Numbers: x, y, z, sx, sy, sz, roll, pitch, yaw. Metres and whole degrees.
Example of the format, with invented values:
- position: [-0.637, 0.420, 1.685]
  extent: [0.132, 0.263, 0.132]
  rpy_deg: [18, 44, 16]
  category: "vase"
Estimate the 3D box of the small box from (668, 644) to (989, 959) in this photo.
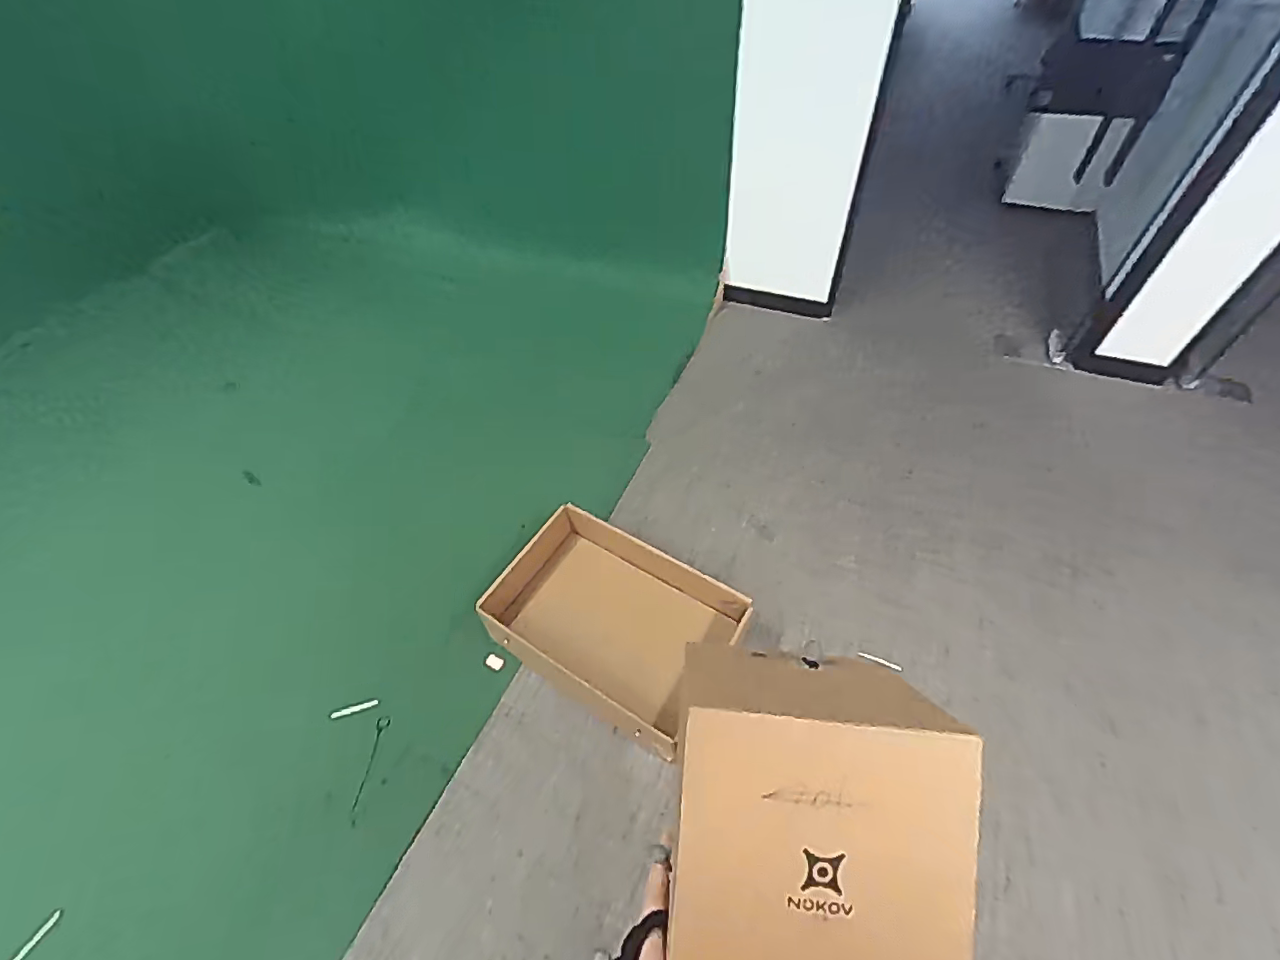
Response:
- position: [0.110, 0.230, 0.380]
  extent: [0.168, 0.176, 0.179]
  rpy_deg: [4, 86, 4]
  category: "small box"
